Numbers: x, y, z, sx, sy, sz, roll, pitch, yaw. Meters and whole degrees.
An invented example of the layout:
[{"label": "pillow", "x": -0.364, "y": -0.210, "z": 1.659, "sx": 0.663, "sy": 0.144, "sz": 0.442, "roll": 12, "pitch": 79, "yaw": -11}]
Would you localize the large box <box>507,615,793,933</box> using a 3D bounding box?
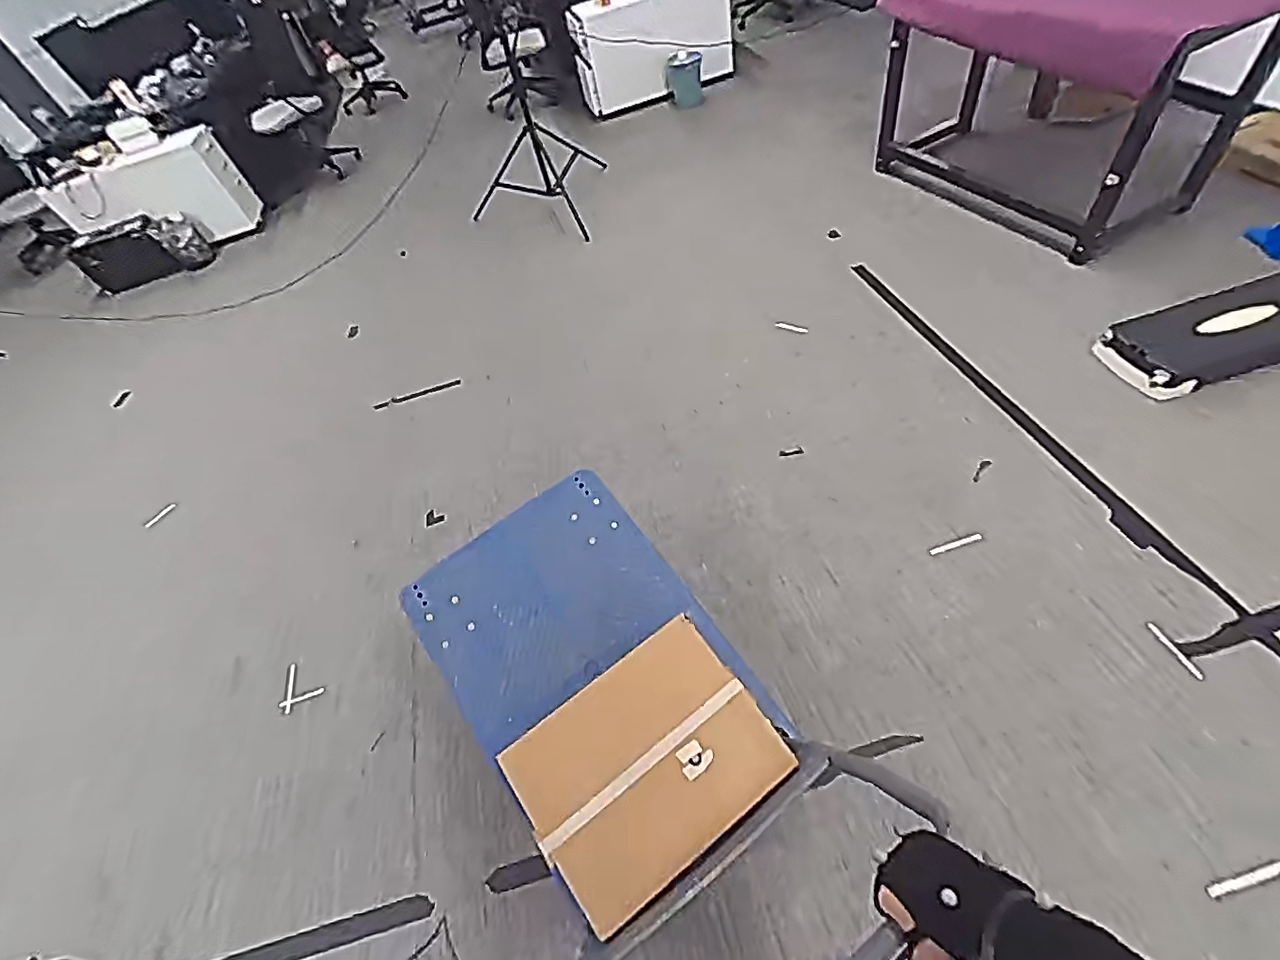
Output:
[{"label": "large box", "x": 0.018, "y": 0.537, "z": 1.054, "sx": 0.408, "sy": 0.320, "sz": 0.320, "roll": -35, "pitch": 70, "yaw": -15}]
